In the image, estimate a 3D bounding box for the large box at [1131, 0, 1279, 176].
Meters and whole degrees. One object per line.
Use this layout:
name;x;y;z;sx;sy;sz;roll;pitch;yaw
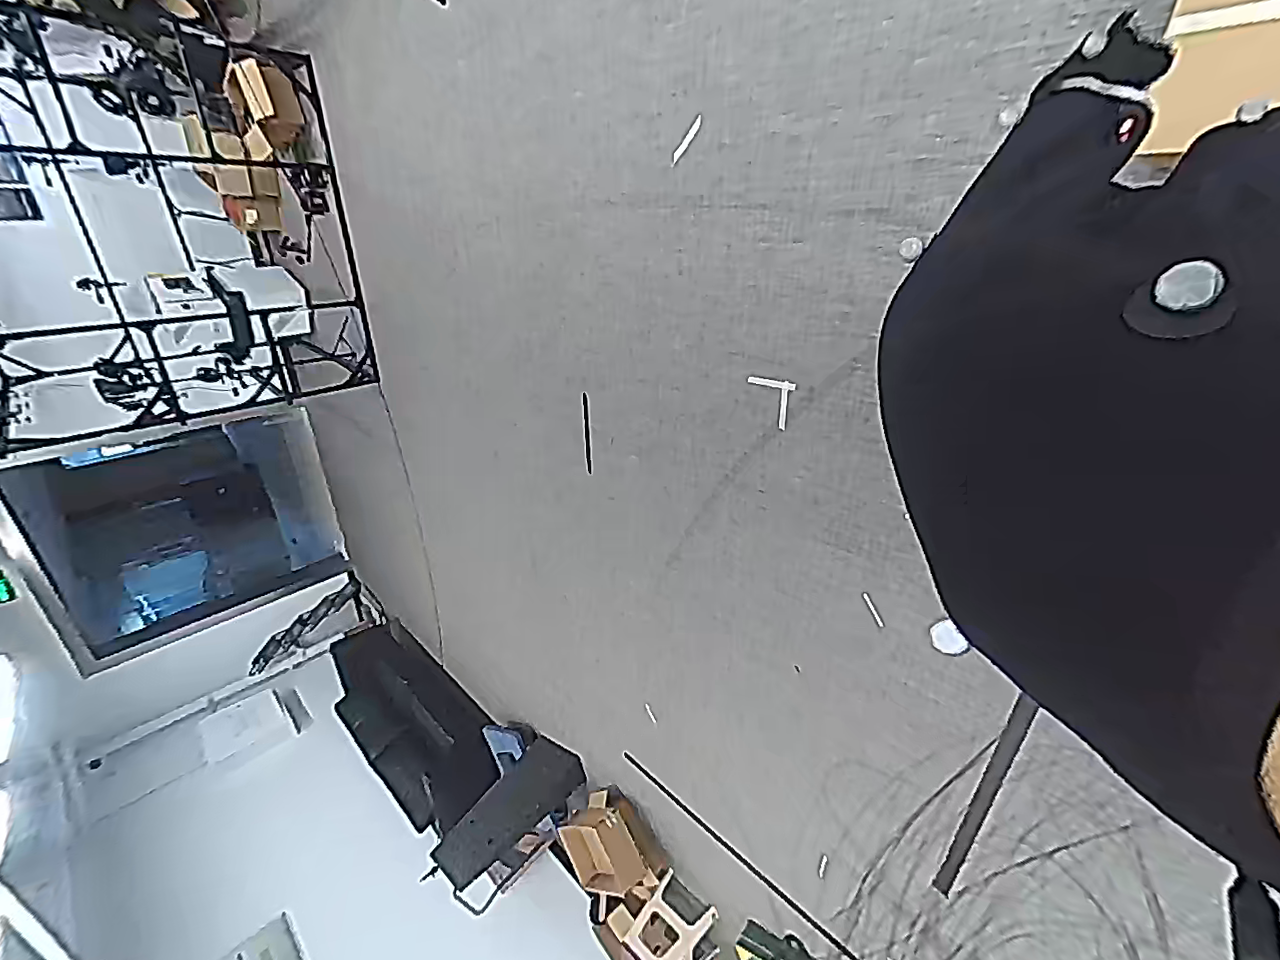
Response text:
large box;0.992;-0.616;0.736;0.408;0.320;0.320;23;124;40
